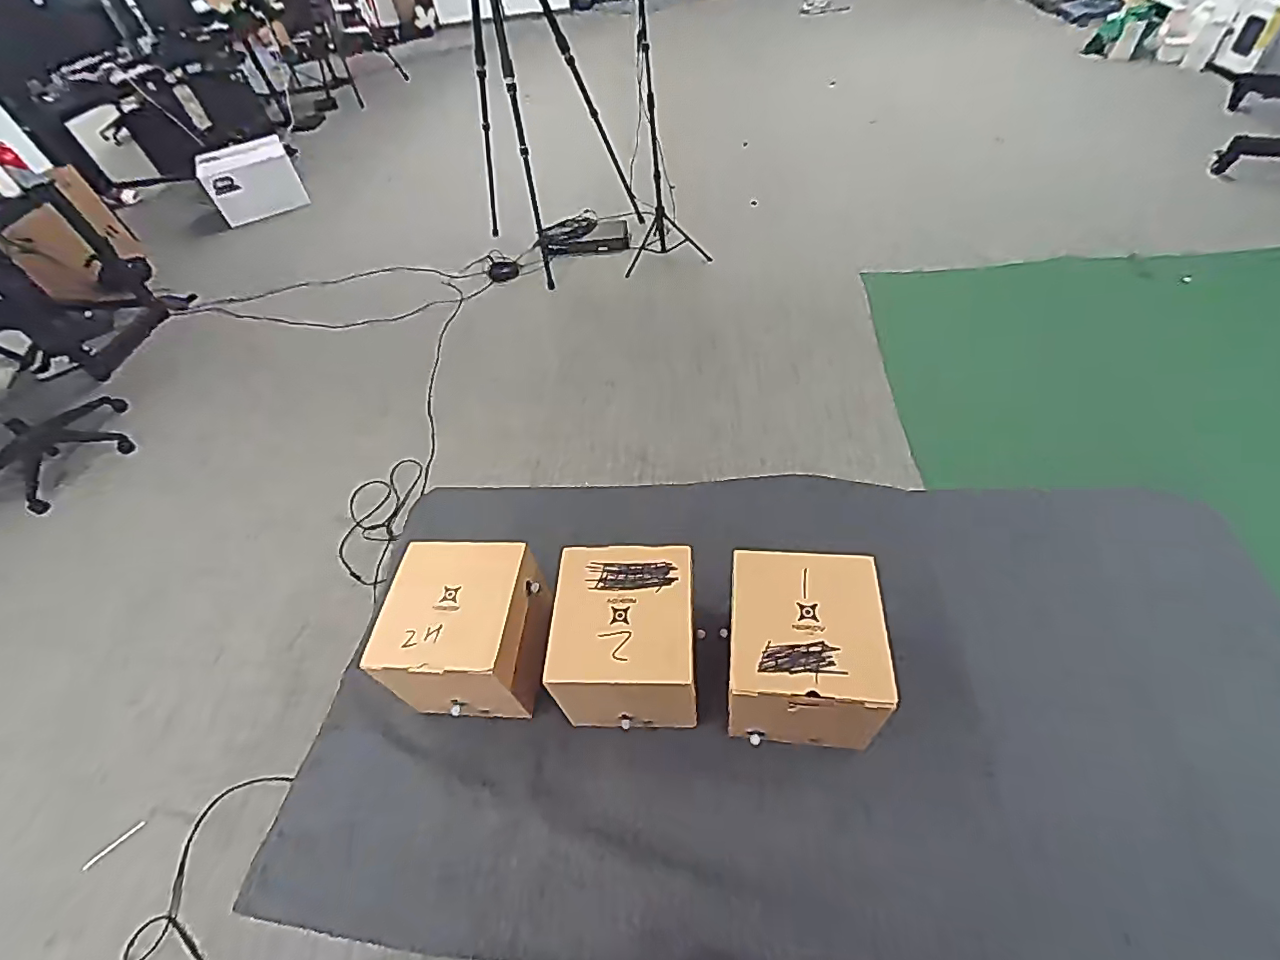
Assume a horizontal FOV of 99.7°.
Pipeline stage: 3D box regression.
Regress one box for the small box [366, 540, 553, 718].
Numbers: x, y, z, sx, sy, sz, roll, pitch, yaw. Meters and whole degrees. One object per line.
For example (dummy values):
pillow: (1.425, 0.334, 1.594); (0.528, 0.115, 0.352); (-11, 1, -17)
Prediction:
small box: (-0.224, 0.201, 0.730); (0.168, 0.176, 0.179); (0, 50, 8)
